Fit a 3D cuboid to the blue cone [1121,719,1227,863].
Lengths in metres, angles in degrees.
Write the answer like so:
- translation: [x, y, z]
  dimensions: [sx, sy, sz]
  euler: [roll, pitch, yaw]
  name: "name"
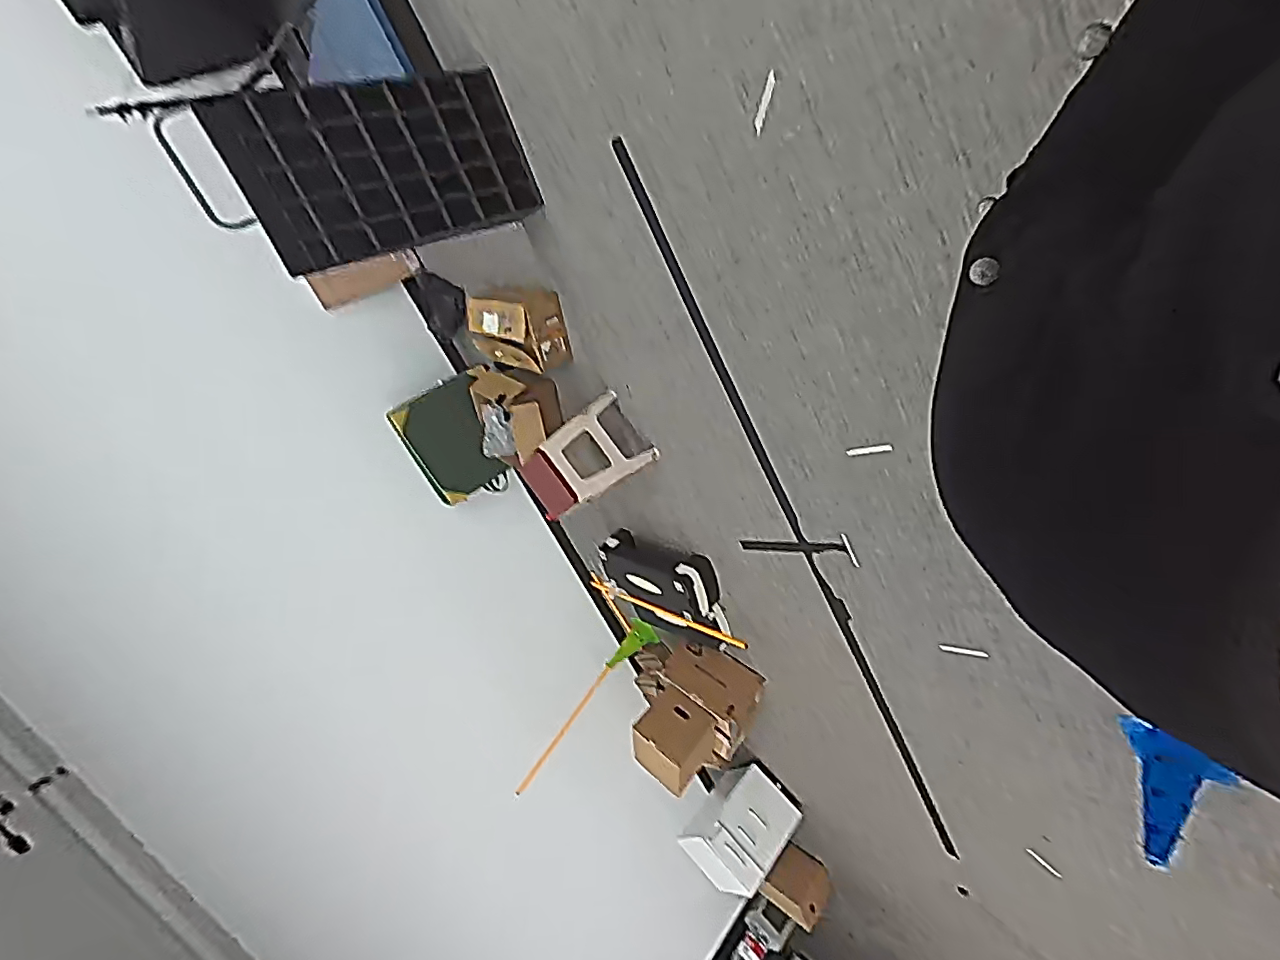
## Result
- translation: [1.381, 0.841, 1.424]
  dimensions: [0.193, 0.380, 0.192]
  euler: [-16, 108, 56]
  name: "blue cone"
